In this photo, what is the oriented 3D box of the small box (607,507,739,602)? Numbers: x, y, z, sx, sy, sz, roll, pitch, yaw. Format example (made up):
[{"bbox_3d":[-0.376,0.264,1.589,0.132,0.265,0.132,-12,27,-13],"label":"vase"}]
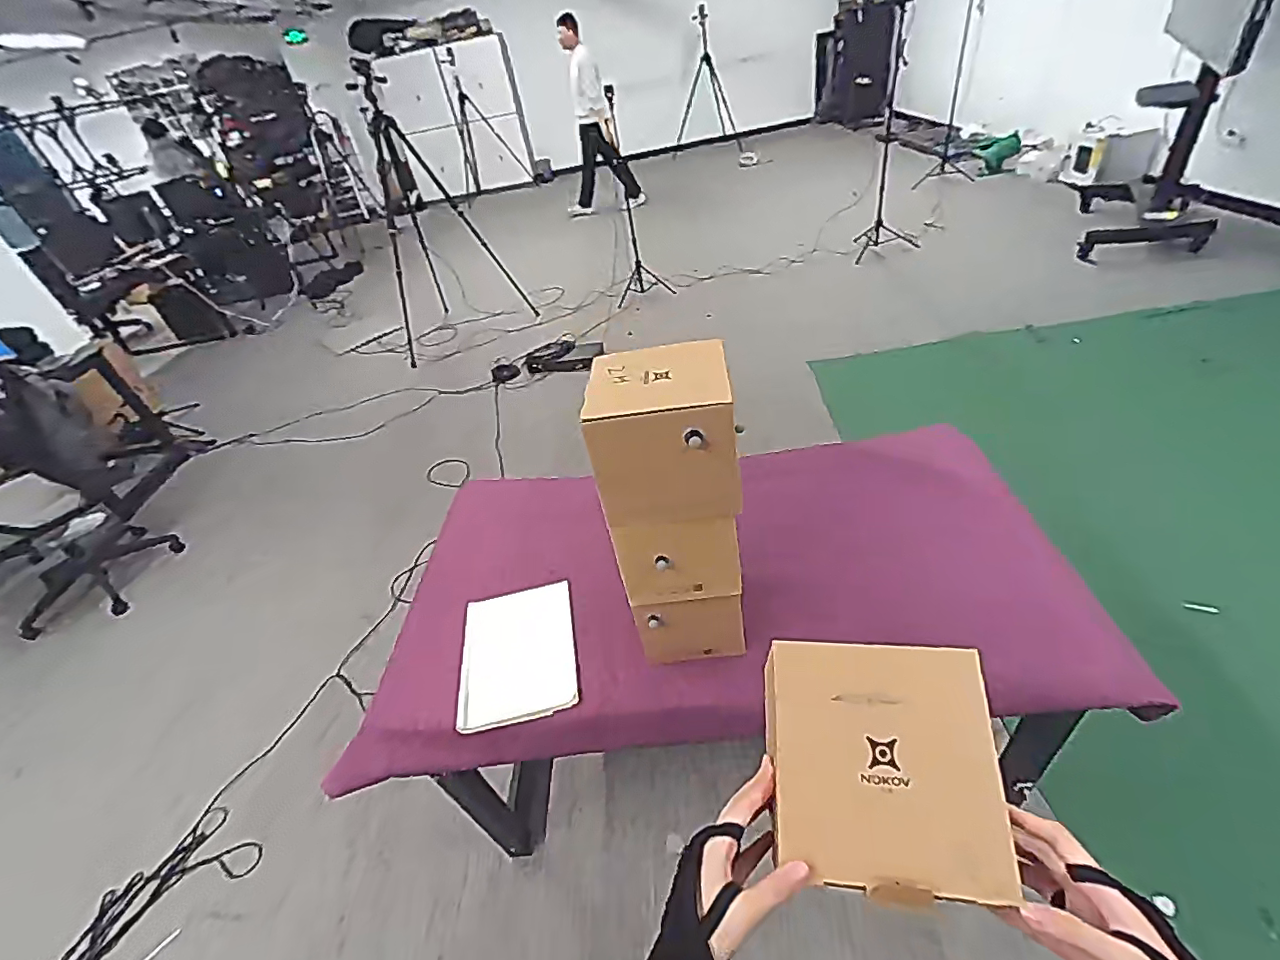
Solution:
[{"bbox_3d":[0.052,0.067,0.812,0.168,0.176,0.179,-8,37,6],"label":"small box"}]

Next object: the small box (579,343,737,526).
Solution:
[{"bbox_3d":[0.033,-0.058,0.706,0.179,0.176,0.168,-6,37,8],"label":"small box"}]
